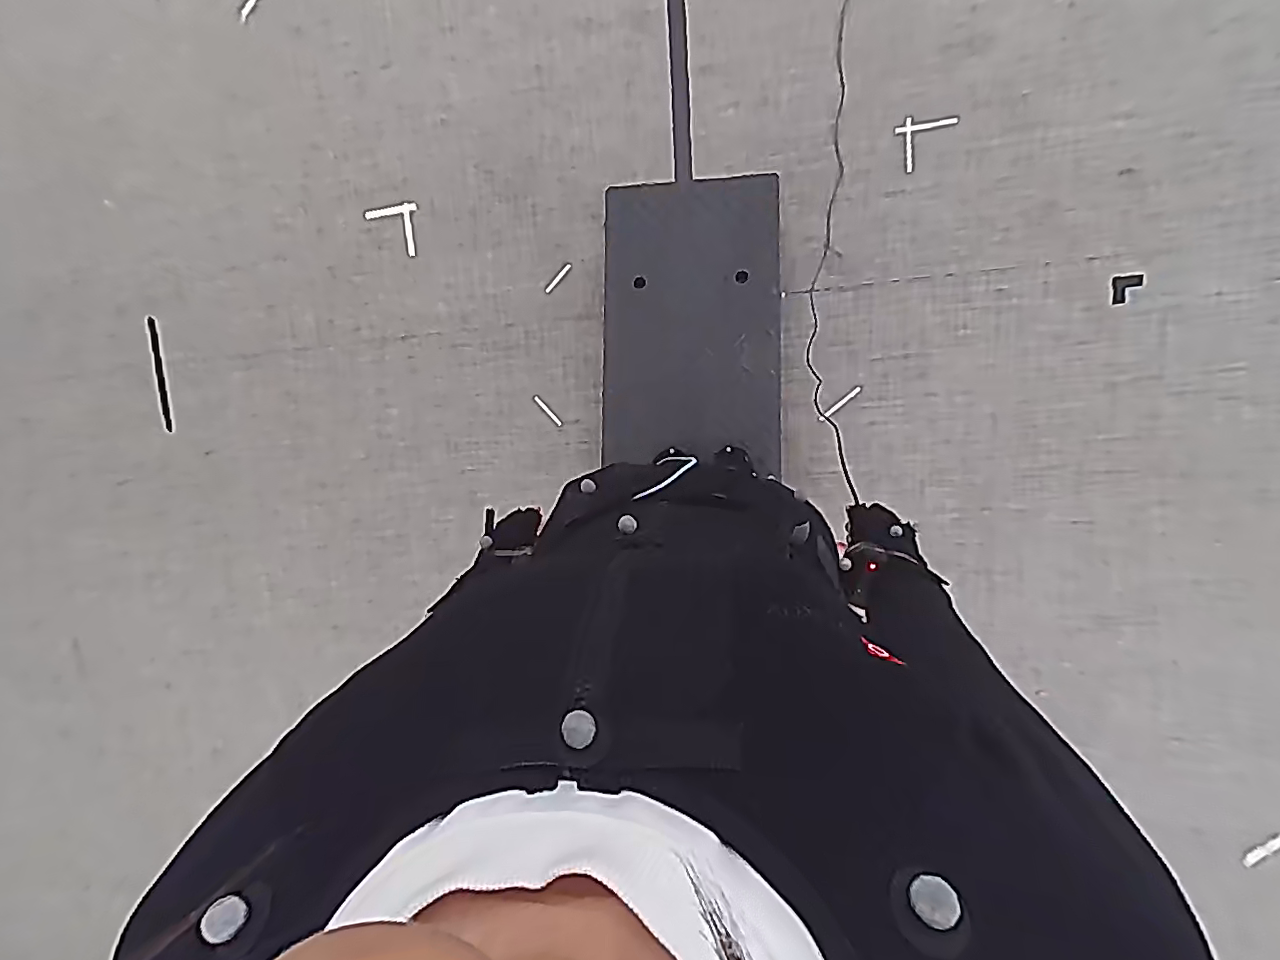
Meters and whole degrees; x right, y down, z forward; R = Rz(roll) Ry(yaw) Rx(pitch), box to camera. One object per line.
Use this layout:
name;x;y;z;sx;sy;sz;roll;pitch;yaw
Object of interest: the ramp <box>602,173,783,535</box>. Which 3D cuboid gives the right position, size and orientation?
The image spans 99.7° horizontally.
ramp;0.138;-0.349;1.494;0.509;0.206;0.991;-2;95;10
